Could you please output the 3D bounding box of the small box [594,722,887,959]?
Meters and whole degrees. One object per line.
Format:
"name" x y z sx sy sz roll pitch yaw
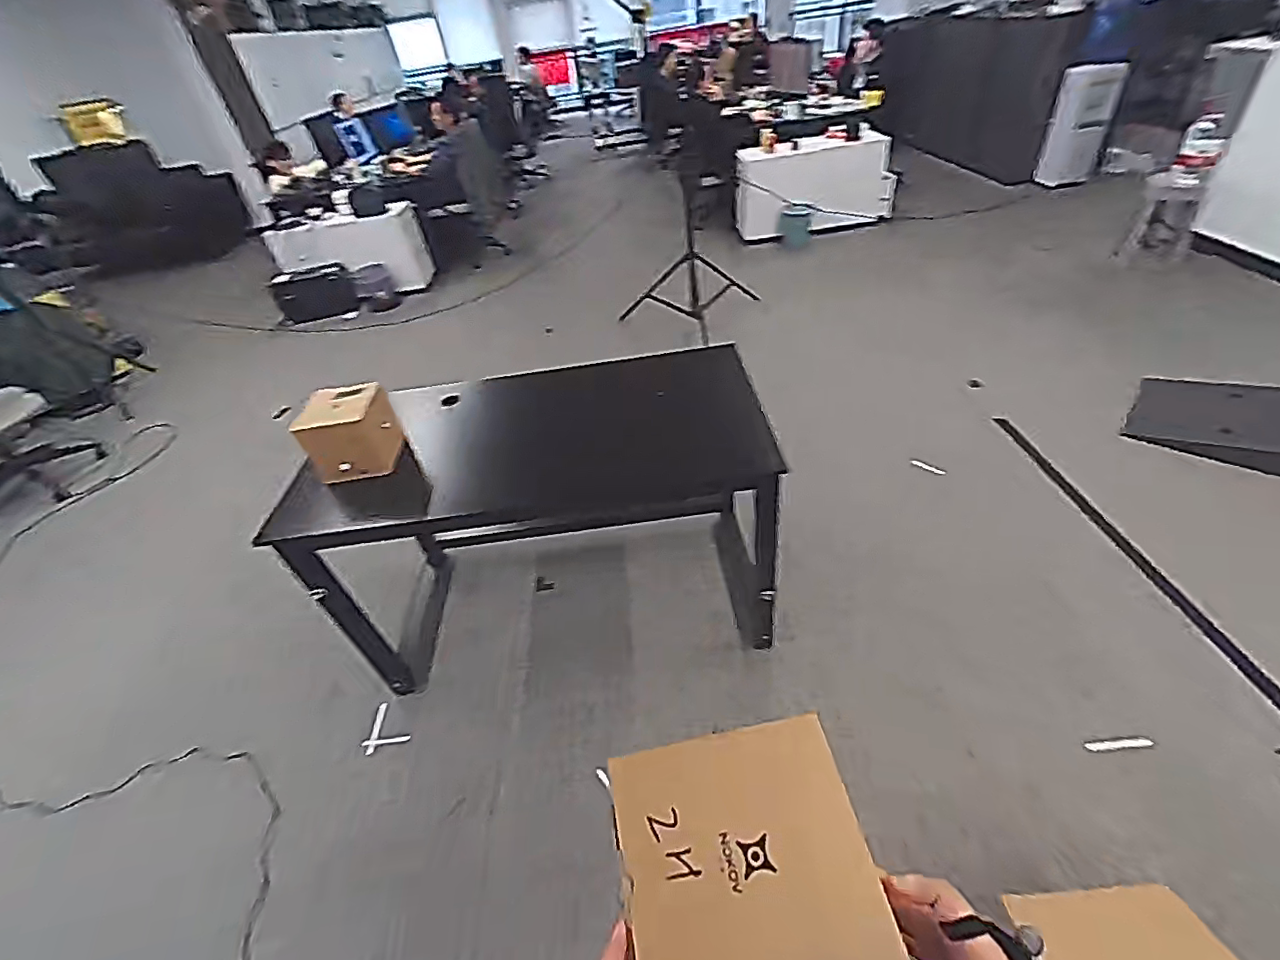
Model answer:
"small box" 0.067 0.323 0.449 0.179 0.176 0.168 -12 51 -4

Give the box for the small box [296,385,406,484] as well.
"small box" -0.711 -0.115 1.358 0.168 0.176 0.179 -9 41 1
